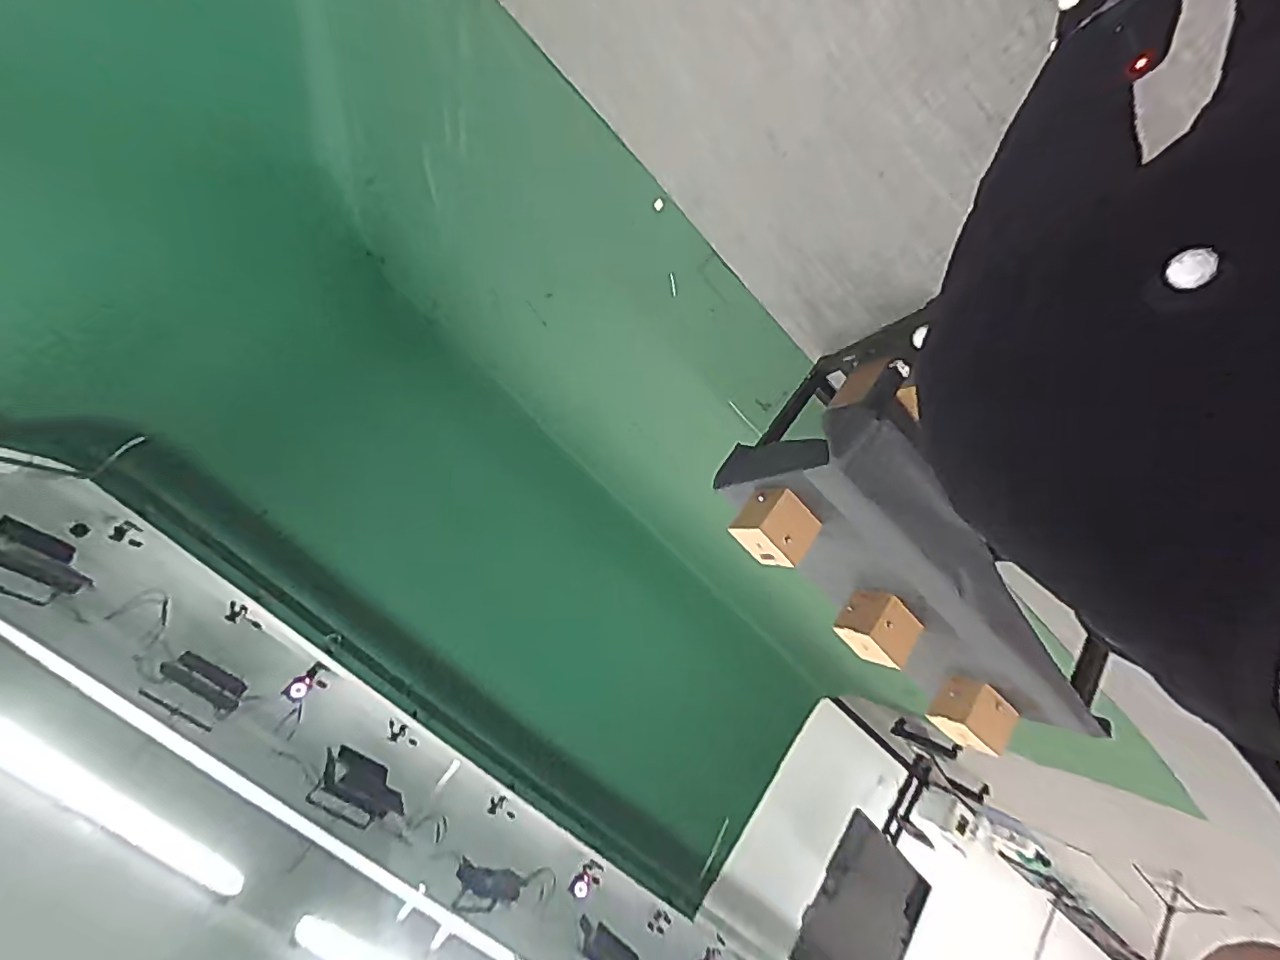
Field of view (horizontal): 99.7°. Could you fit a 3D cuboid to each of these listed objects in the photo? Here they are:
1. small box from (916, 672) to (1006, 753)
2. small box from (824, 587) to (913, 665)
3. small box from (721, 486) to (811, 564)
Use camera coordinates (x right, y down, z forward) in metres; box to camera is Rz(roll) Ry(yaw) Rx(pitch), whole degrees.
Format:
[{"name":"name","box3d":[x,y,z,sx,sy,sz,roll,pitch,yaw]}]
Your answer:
[{"name":"small box","box3d":[1.089,0.781,1.834,0.179,0.176,0.168,43,160,-7]},{"name":"small box","box3d":[0.751,0.472,1.775,0.179,0.176,0.168,44,161,-15]},{"name":"small box","box3d":[0.392,0.137,1.673,0.179,0.176,0.168,45,159,-15]}]
